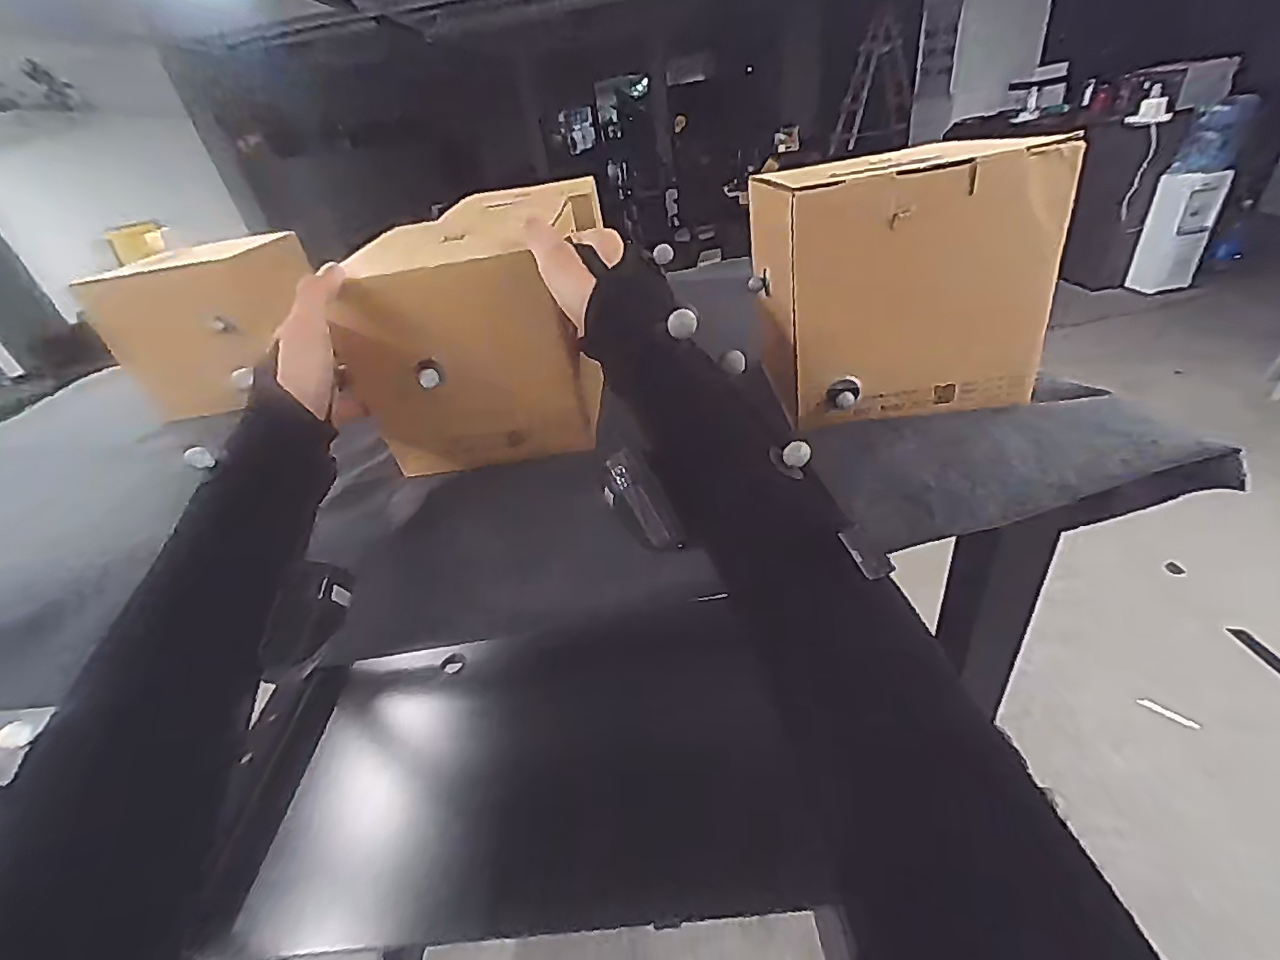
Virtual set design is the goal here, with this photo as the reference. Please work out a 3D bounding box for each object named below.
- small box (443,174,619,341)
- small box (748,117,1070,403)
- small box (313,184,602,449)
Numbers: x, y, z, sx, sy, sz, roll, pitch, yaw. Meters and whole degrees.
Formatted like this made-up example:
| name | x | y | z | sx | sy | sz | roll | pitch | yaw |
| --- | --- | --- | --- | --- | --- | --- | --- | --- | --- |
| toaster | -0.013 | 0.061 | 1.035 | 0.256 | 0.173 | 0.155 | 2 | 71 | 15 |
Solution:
| name | x | y | z | sx | sy | sz | roll | pitch | yaw |
| --- | --- | --- | --- | --- | --- | --- | --- | --- | --- |
| small box | -0.121 | -0.275 | 0.681 | 0.168 | 0.176 | 0.179 | -9 | 33 | 3 |
| small box | 0.184 | -0.167 | 0.428 | 0.168 | 0.176 | 0.179 | -7 | 30 | 6 |
| small box | -0.131 | -0.138 | 0.472 | 0.168 | 0.176 | 0.179 | -7 | 36 | 5 |
